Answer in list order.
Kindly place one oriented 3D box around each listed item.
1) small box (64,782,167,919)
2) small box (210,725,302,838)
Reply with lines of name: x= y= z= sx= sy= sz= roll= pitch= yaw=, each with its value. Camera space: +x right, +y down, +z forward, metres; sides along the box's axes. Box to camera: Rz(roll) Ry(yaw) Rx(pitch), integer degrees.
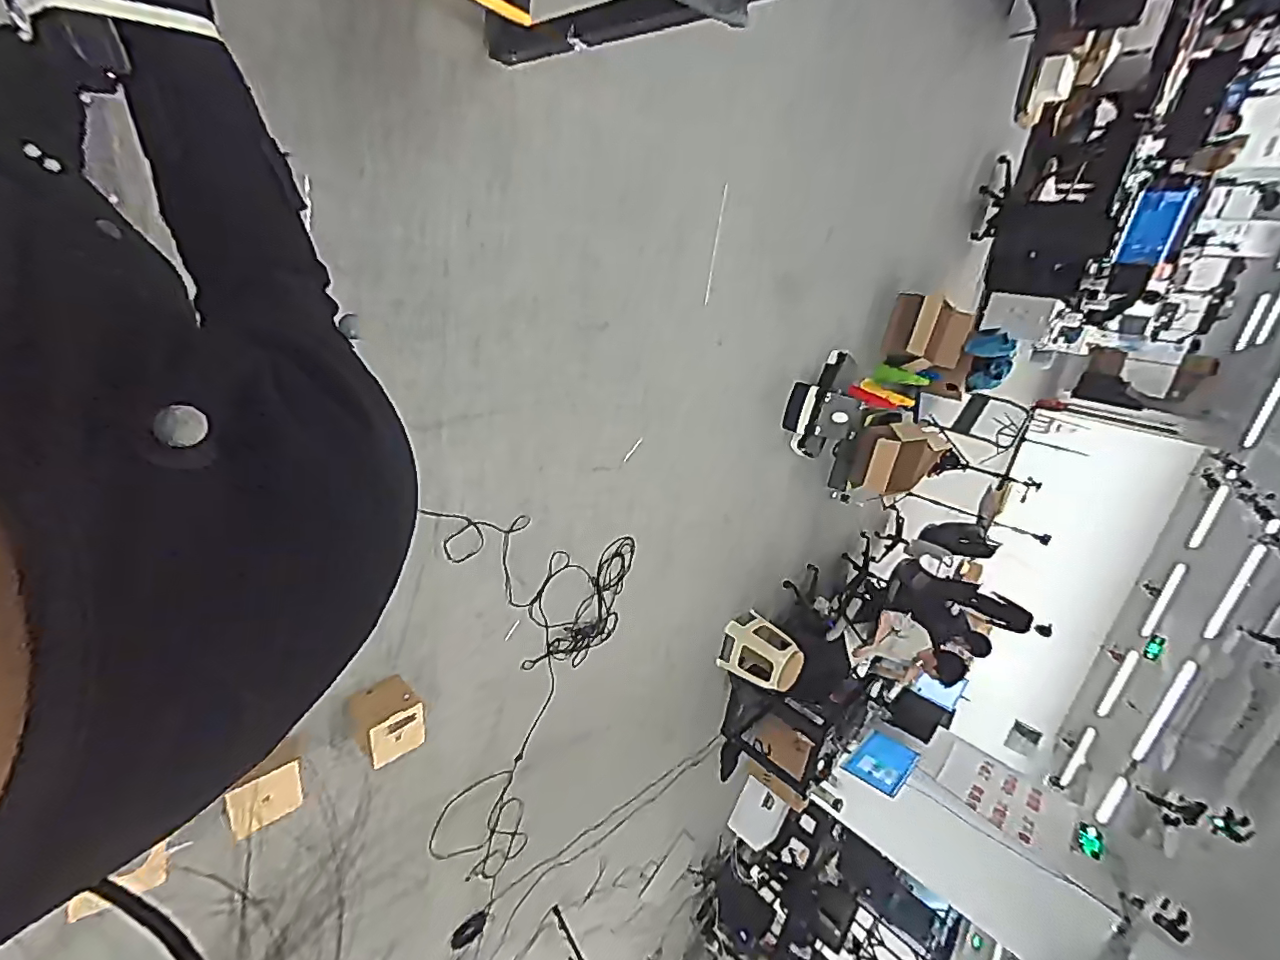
small box: x=-1.261 y=0.878 z=1.301 sx=0.168 sy=0.176 sz=0.179 roll=-3 pitch=111 yaw=-49
small box: x=-1.065 y=0.828 z=1.502 sx=0.168 sy=0.176 sz=0.179 roll=-17 pitch=120 yaw=-46
